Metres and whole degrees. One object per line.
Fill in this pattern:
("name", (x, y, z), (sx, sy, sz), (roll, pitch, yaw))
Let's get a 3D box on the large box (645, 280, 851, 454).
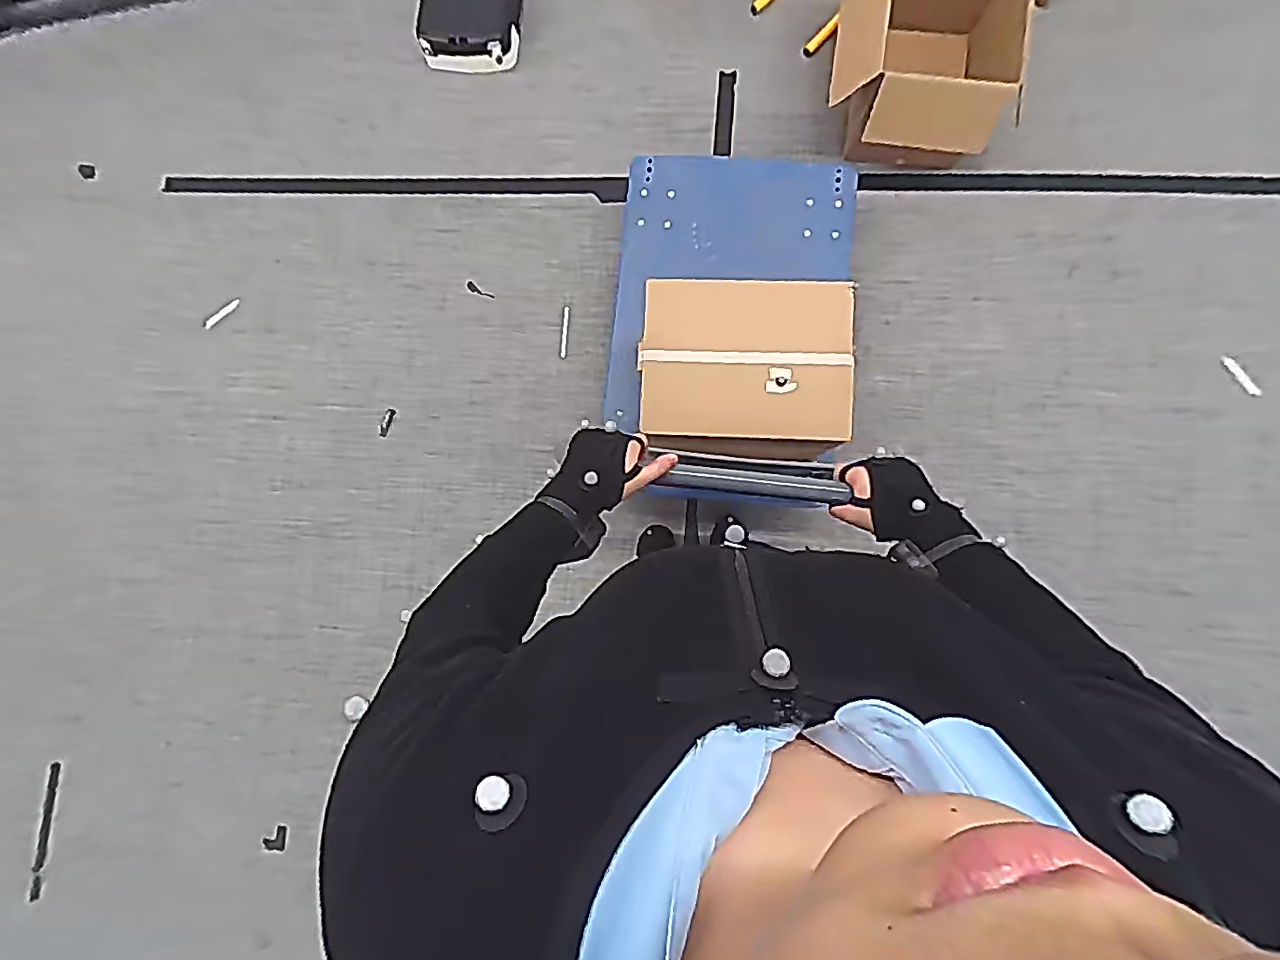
("large box", (0.218, -0.231, 1.208), (0.408, 0.320, 0.320), (2, 87, 3))
